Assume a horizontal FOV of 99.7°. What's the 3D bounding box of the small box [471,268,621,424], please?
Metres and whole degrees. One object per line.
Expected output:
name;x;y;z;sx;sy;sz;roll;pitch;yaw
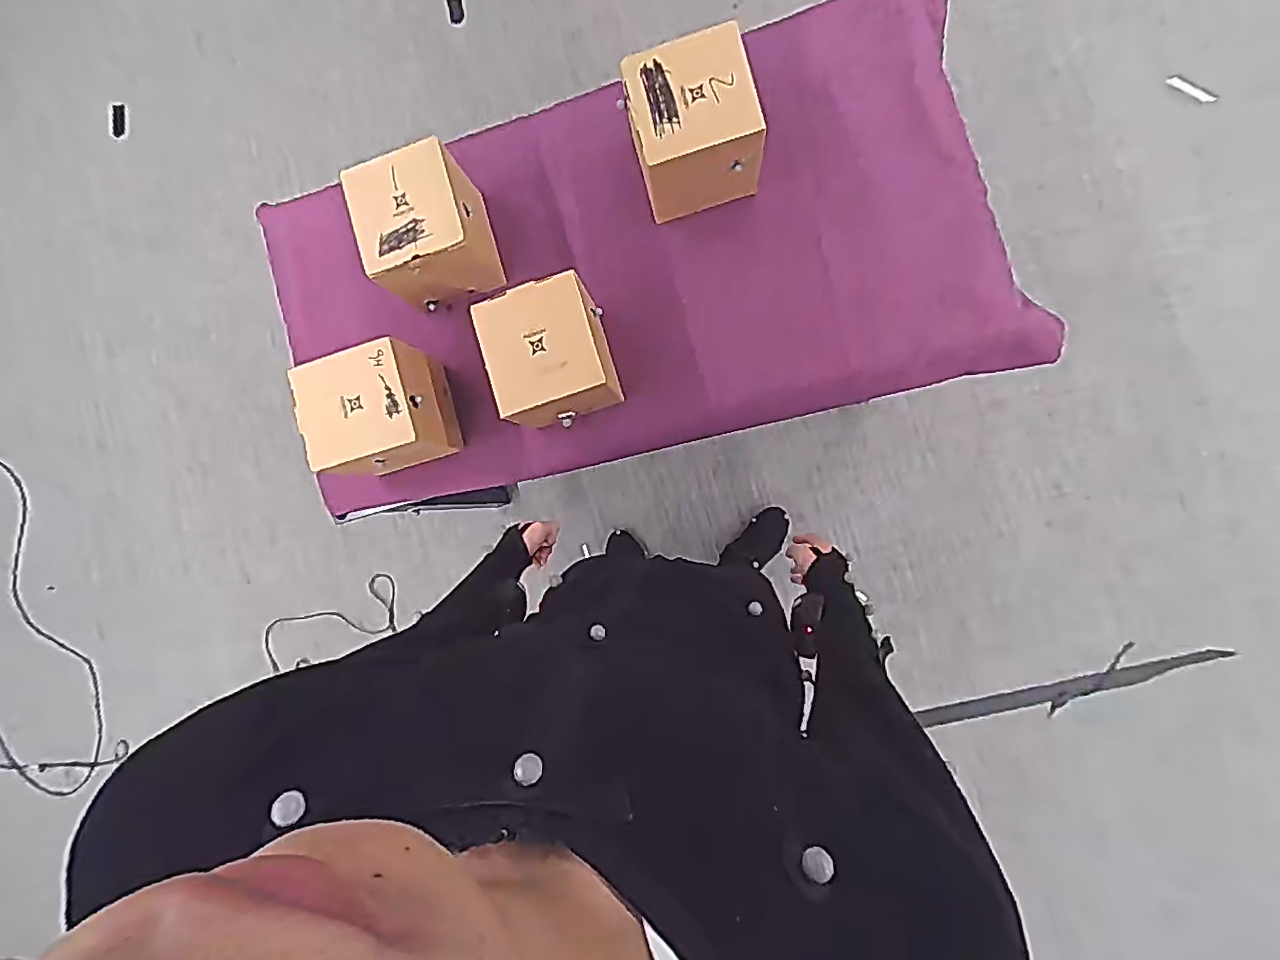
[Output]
small box;-0.139;-0.200;0.860;0.168;0.176;0.179;-17;88;7

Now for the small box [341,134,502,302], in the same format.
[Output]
small box;-0.348;-0.413;0.892;0.168;0.176;0.179;-17;86;6

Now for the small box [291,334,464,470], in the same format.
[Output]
small box;-0.422;-0.116;0.890;0.179;0.176;0.168;-16;87;7
